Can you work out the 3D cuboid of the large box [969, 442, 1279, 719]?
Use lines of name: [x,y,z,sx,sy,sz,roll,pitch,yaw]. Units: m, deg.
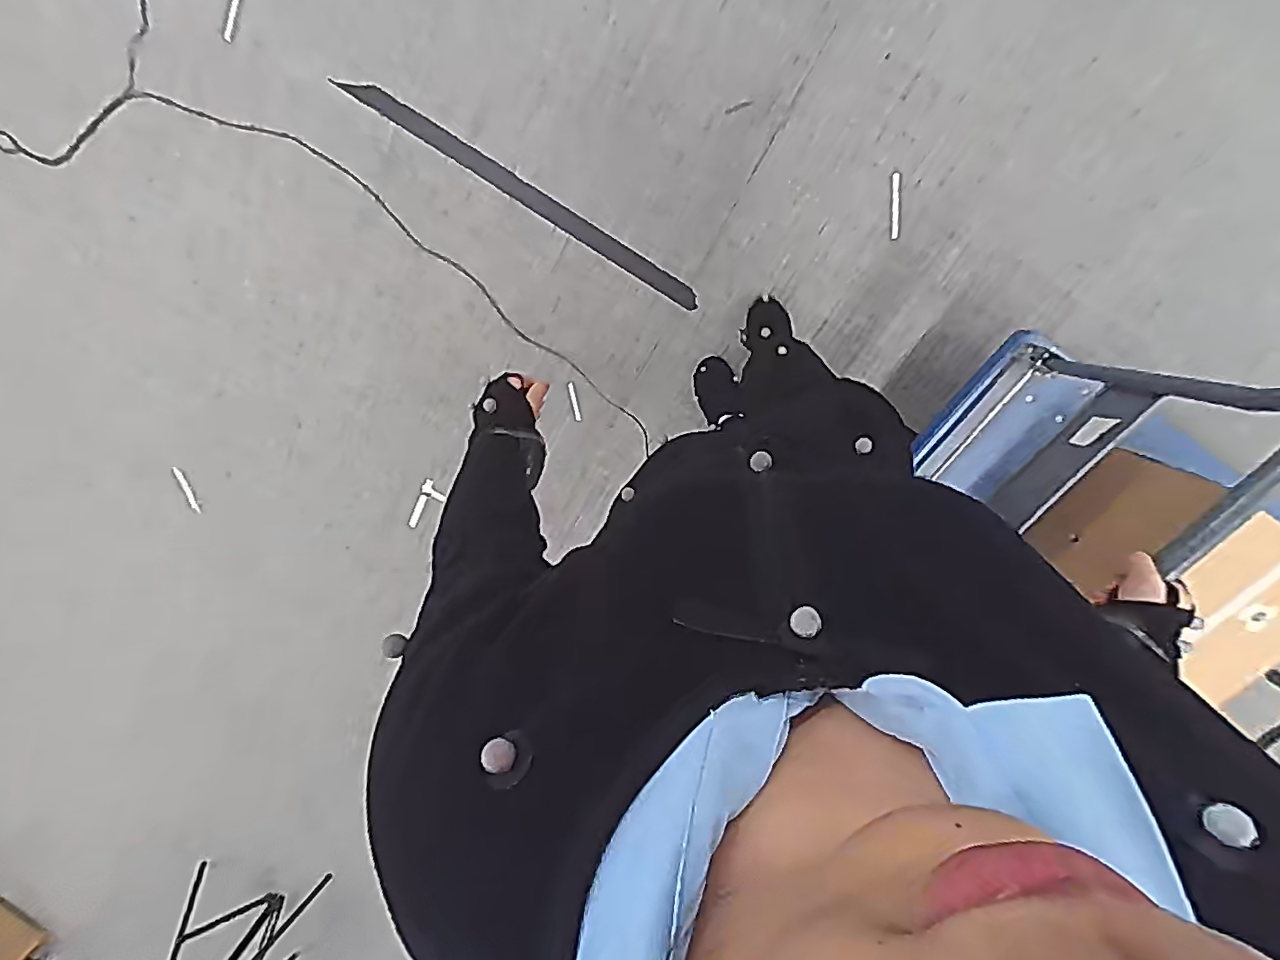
large box: [1.008,0.191,1.130,0.320,0.320,0.408,34,108,-4]
